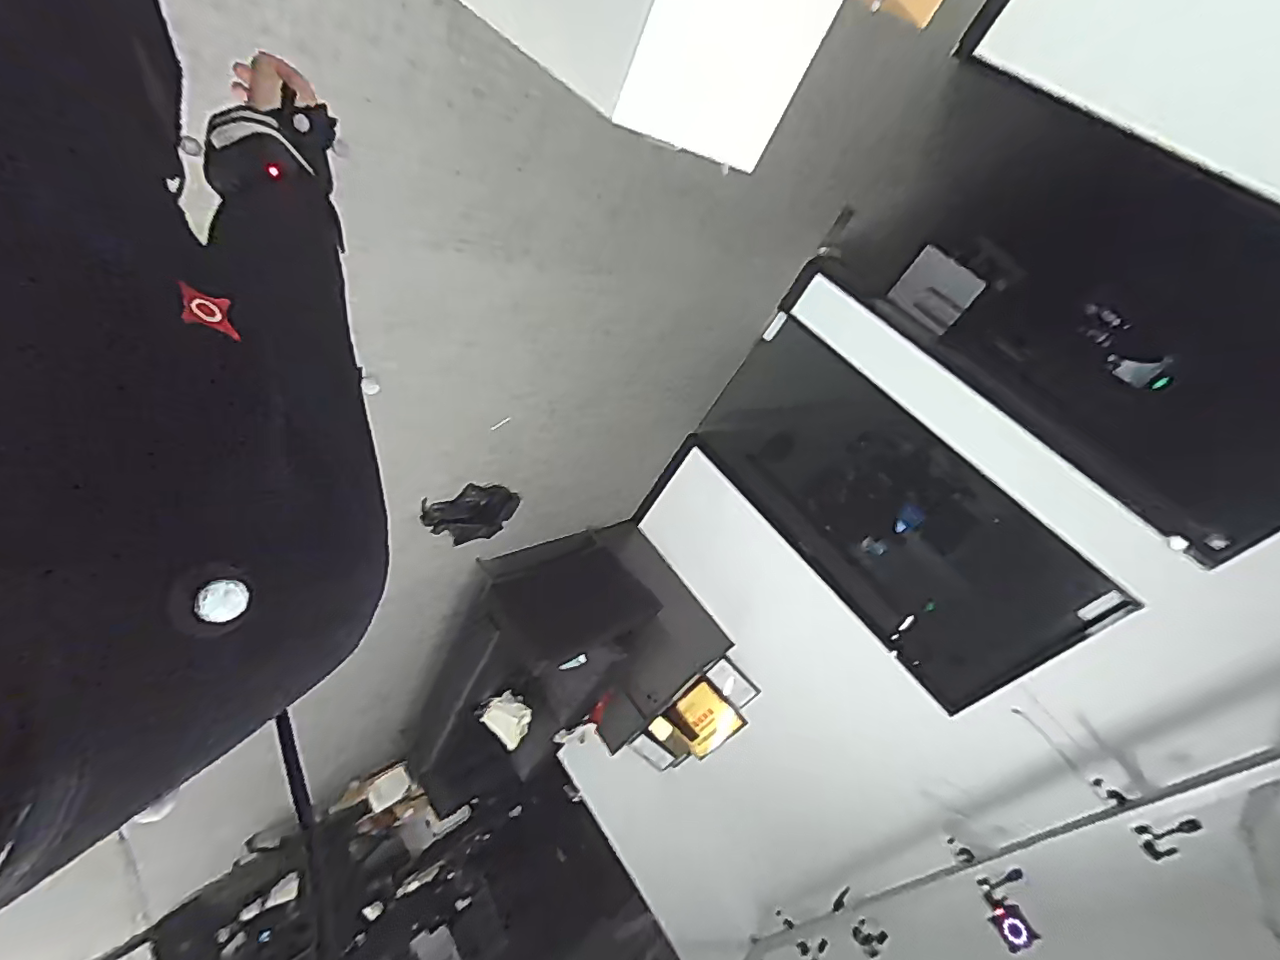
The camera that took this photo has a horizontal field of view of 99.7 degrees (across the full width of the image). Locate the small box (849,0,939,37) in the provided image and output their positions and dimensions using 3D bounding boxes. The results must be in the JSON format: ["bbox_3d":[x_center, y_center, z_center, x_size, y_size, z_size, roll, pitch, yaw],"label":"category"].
[{"bbox_3d":[0.366,-0.797,0.778,0.179,0.176,0.168,-15,148,-43],"label":"small box"}]
